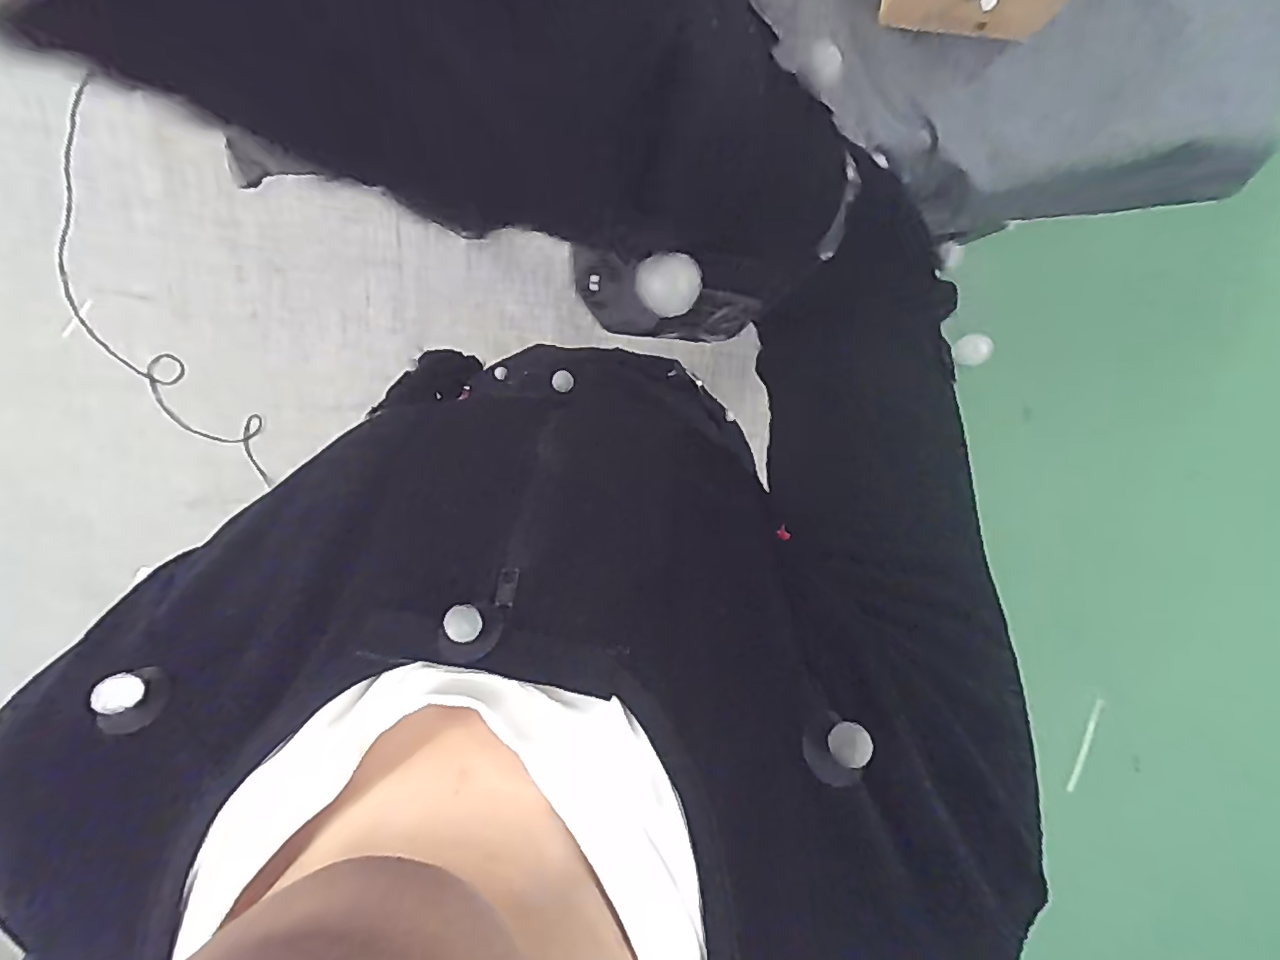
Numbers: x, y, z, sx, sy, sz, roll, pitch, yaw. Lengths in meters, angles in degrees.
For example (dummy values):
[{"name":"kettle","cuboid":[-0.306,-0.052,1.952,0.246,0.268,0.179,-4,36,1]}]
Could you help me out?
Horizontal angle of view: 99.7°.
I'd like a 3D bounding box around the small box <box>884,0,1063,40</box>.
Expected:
[{"name":"small box","cuboid":[0.349,-0.554,0.501,0.168,0.176,0.179,7,104,1]}]
